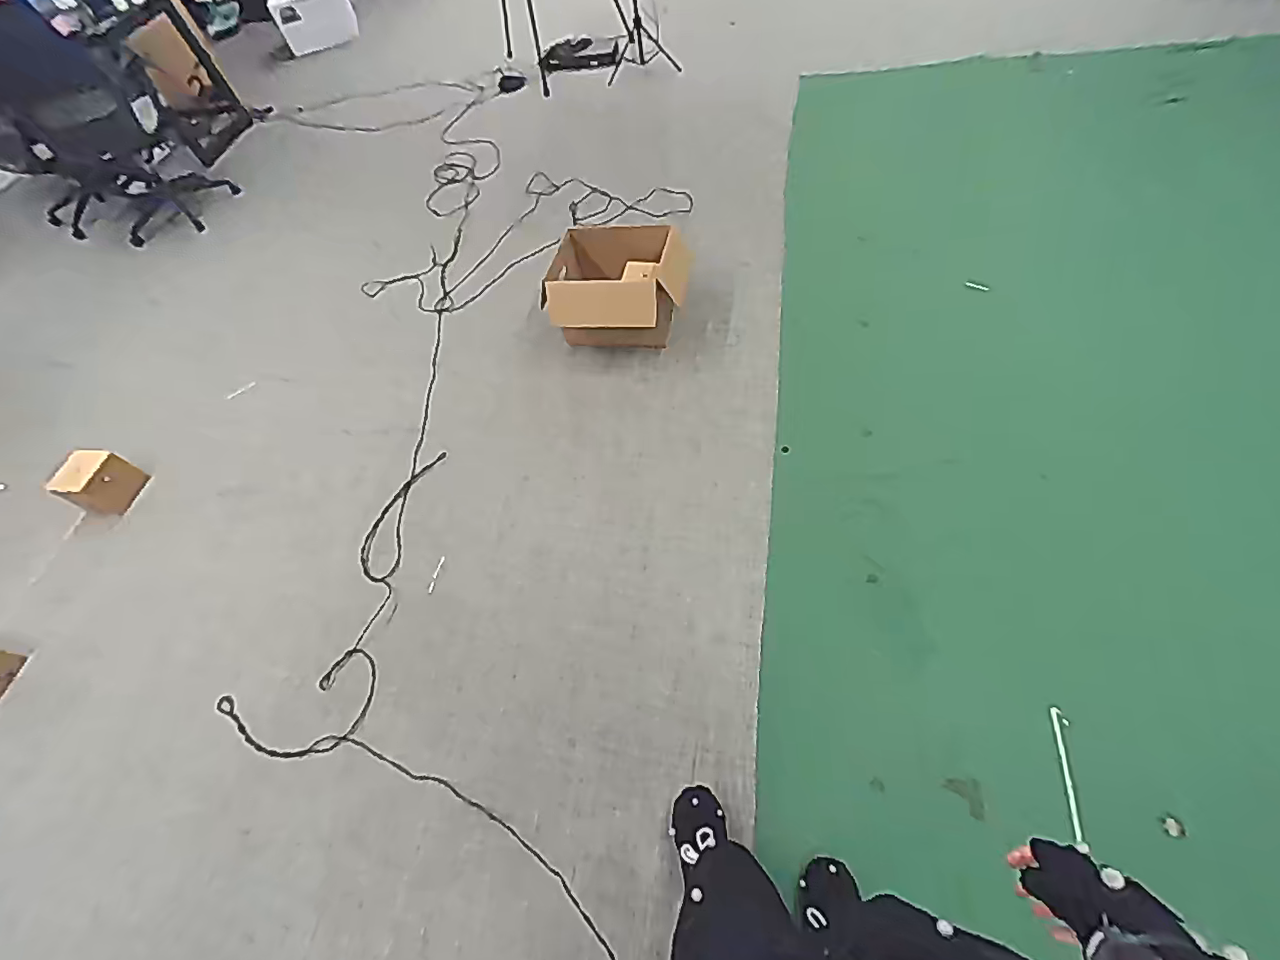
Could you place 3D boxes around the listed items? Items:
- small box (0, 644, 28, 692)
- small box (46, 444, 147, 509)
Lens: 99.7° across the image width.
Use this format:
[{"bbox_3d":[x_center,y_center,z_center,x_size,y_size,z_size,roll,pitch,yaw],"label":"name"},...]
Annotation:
[{"bbox_3d":[-2.071,0.574,1.649,0.179,0.176,0.168,3,60,12],"label":"small box"},{"bbox_3d":[-1.988,-0.013,1.993,0.168,0.176,0.179,3,60,11],"label":"small box"}]
